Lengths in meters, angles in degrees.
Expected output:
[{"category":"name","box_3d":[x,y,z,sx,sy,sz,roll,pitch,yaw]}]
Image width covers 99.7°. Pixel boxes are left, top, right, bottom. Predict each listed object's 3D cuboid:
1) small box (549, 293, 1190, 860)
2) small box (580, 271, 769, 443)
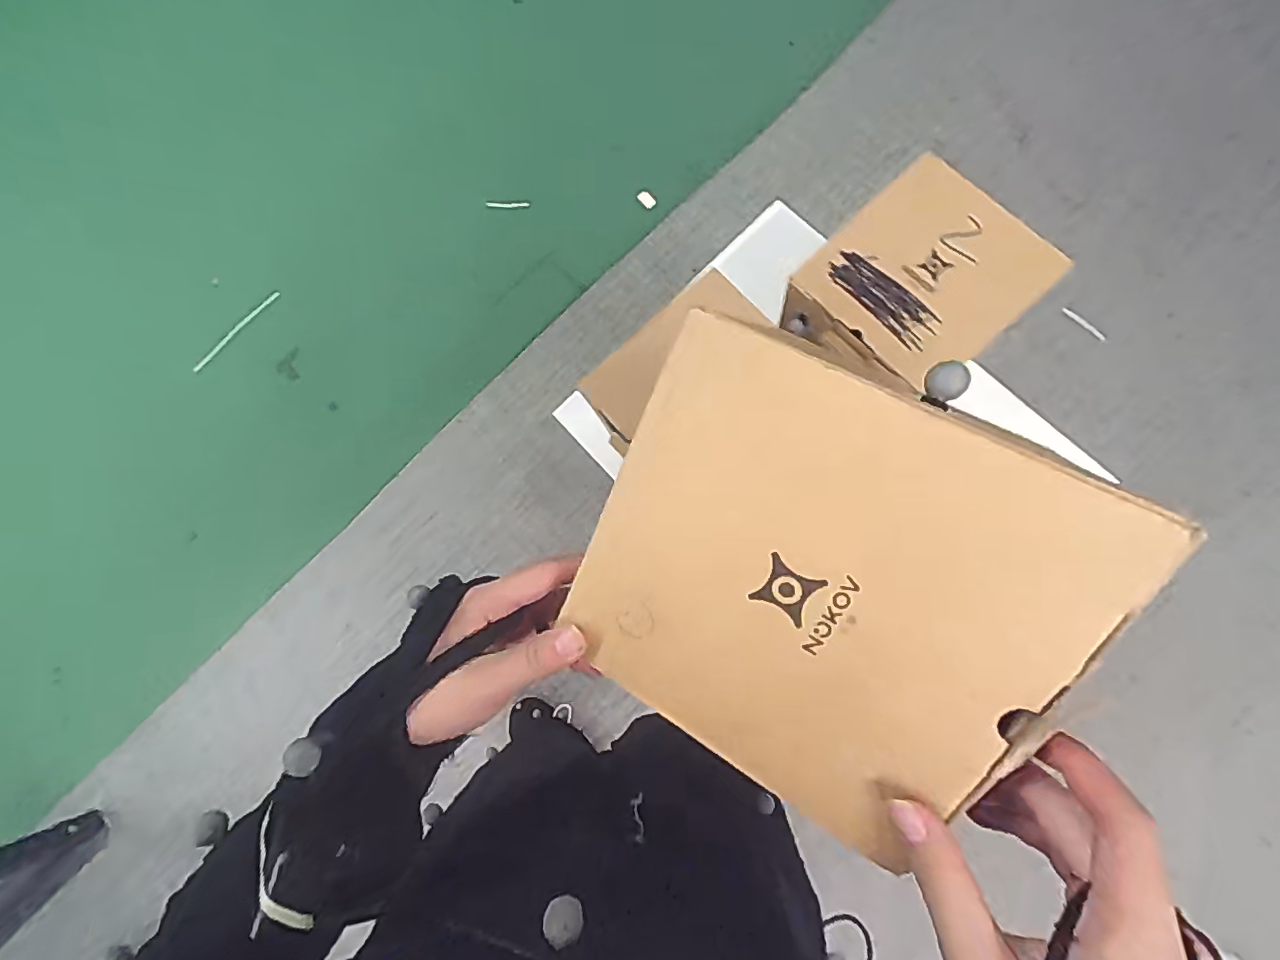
[{"category":"small box","box_3d":[0.089,0.025,0.278,0.179,0.176,0.168,28,111,16]},{"category":"small box","box_3d":[0.068,-0.071,0.573,0.179,0.176,0.168,-42,79,-2]}]
